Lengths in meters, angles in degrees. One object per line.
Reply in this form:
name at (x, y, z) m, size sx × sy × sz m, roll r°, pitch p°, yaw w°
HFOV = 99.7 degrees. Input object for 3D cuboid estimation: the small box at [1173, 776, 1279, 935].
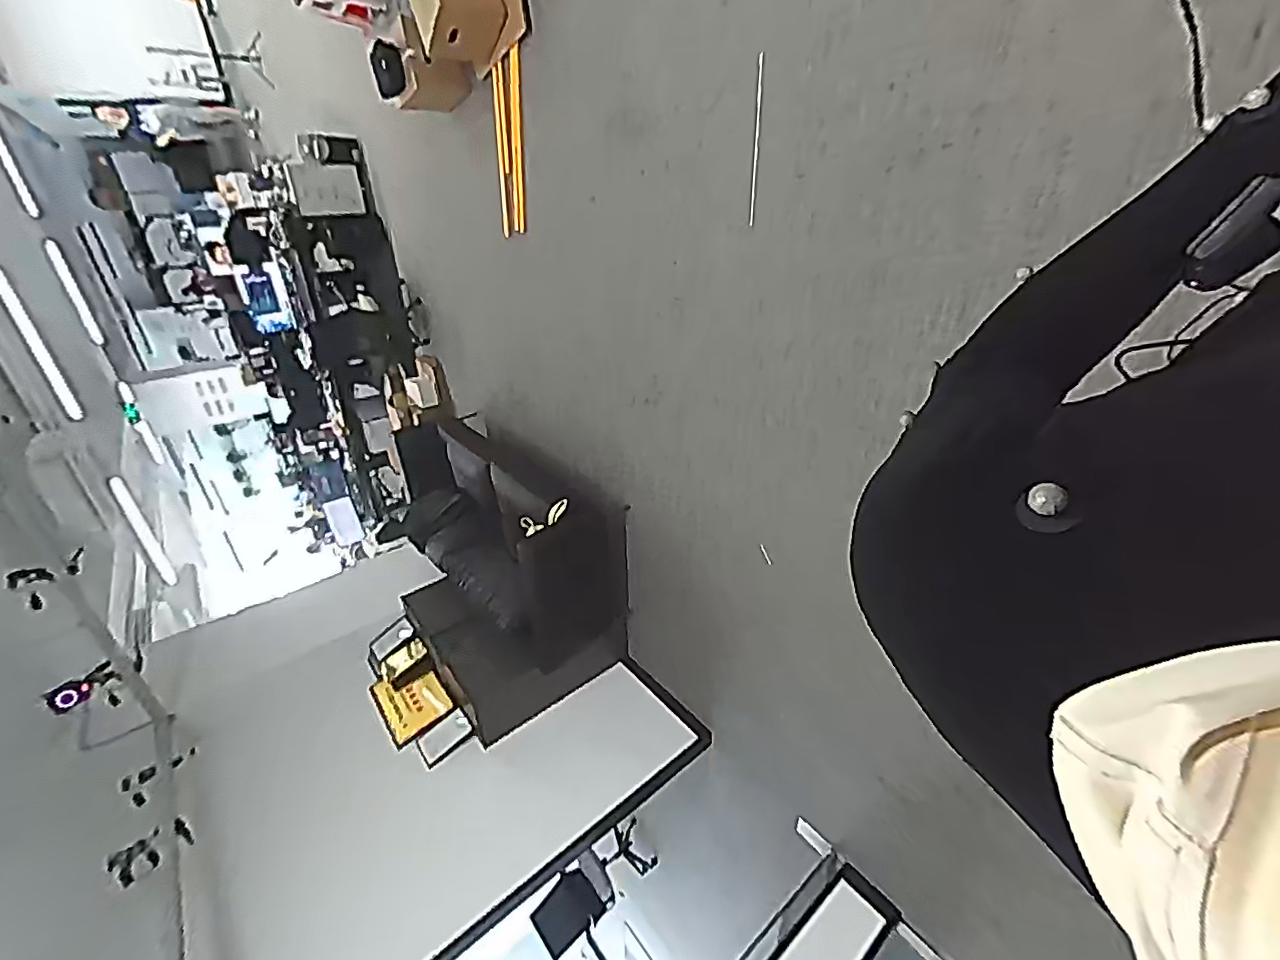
small box at (1.252, 0.752, 1.096) m, size 0.168 × 0.176 × 0.179 m, roll 35°, pitch 136°, yaw 41°

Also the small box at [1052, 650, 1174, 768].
small box at (1.196, 0.572, 1.366) m, size 0.168 × 0.176 × 0.179 m, roll 33°, pitch 134°, yaw 39°
